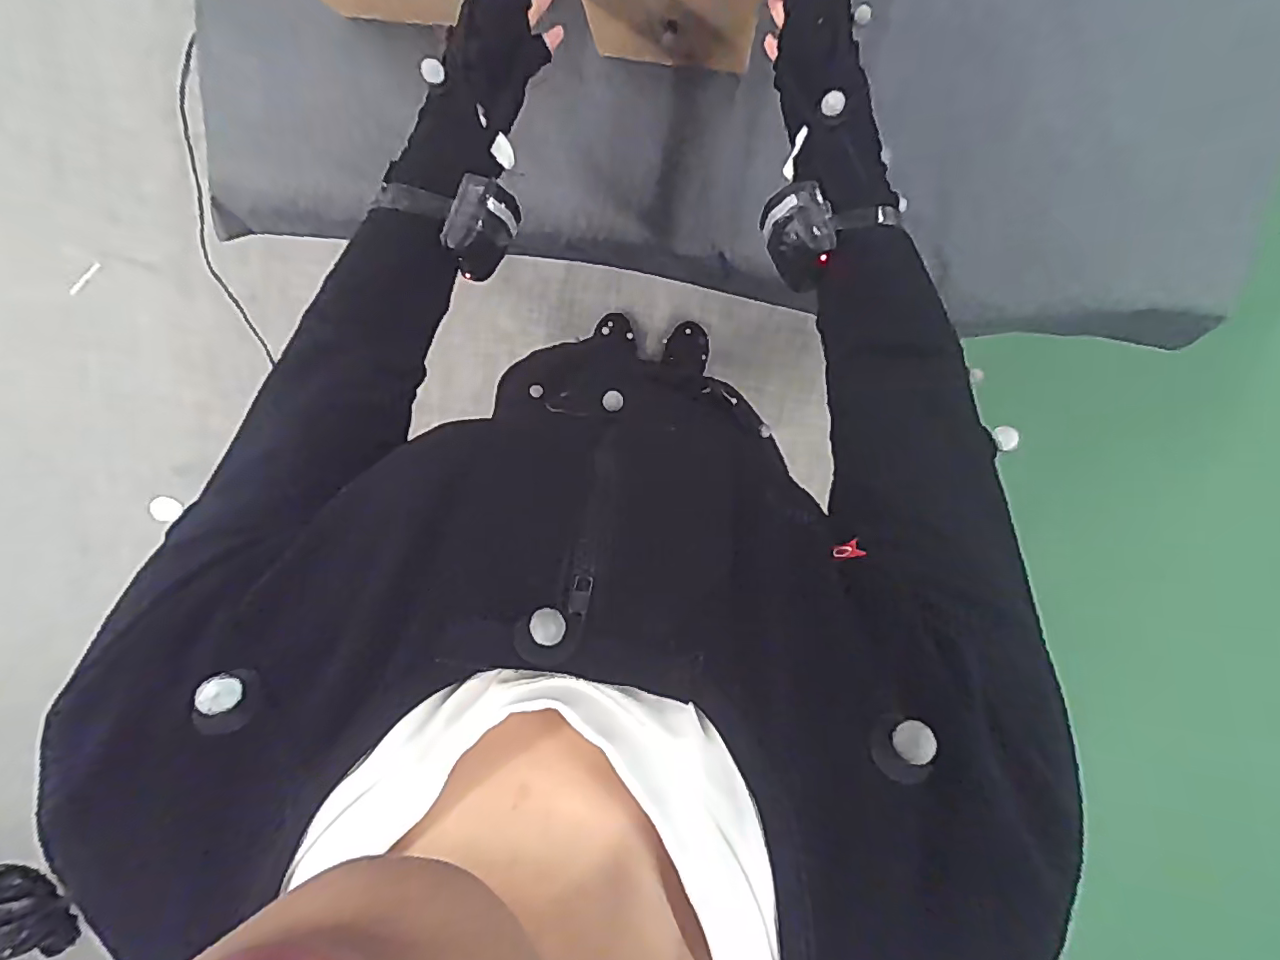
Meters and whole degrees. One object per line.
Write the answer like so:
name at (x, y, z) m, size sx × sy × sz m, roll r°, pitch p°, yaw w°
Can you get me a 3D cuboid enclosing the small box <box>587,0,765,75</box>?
small box at (0.045, -0.514, 0.500) m, size 0.168 × 0.176 × 0.179 m, roll 10°, pitch 106°, yaw 3°
